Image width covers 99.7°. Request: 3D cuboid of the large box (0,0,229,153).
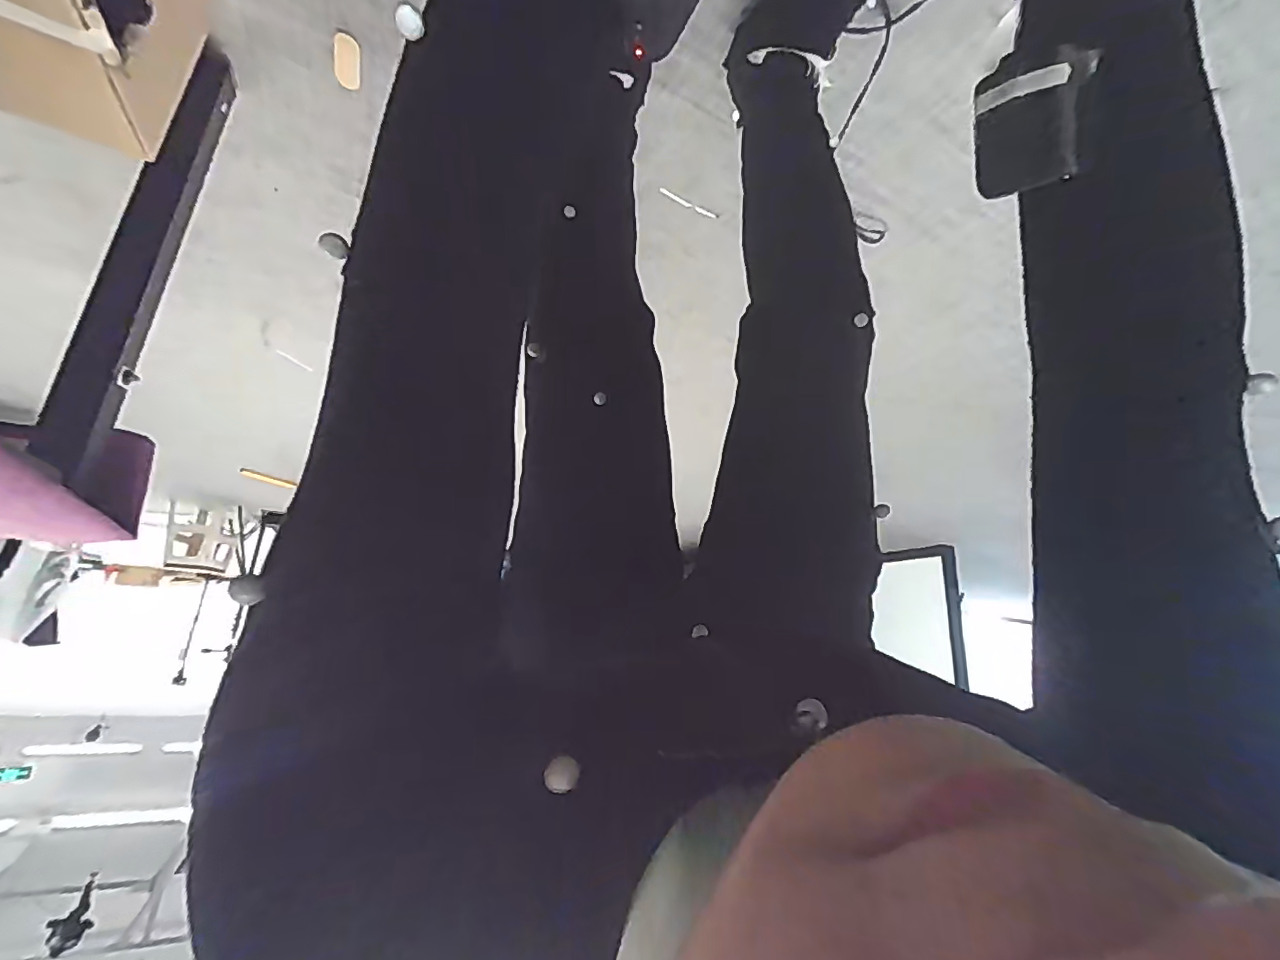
[{"bbox_3d":[-0.666,-0.599,0.475,0.408,0.320,0.320,13,159,-23],"label":"large box"}]
